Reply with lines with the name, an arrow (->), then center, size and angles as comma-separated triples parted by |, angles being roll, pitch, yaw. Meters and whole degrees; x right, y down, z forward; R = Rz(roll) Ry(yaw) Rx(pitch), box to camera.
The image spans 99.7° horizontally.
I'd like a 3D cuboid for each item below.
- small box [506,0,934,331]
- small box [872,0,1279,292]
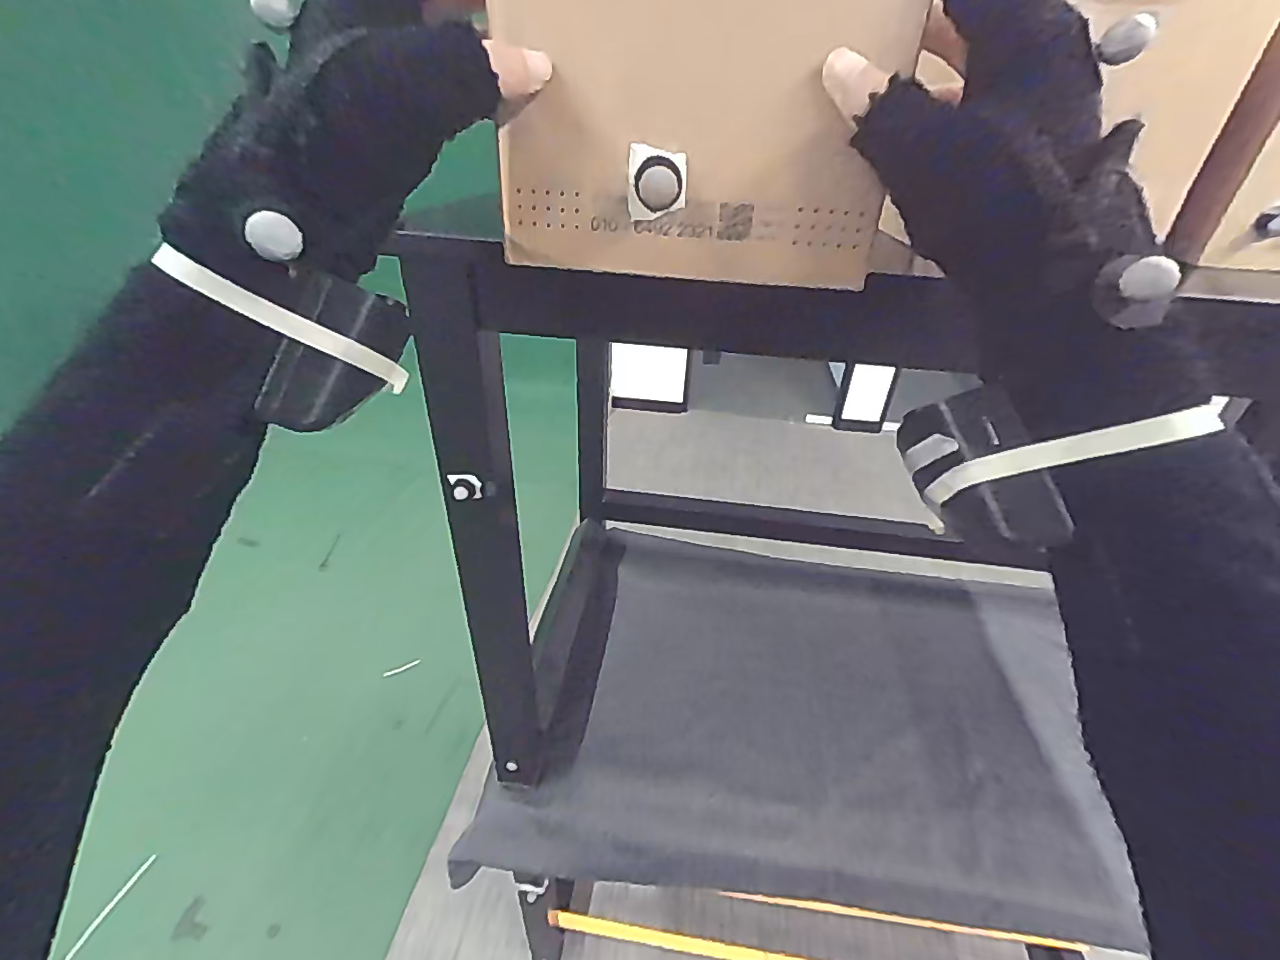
small box -> 0.031, -0.189, 0.289 | 0.168, 0.176, 0.179 | 4, 31, 3
small box -> 0.293, -0.261, 0.429 | 0.168, 0.176, 0.179 | 6, 34, 3
